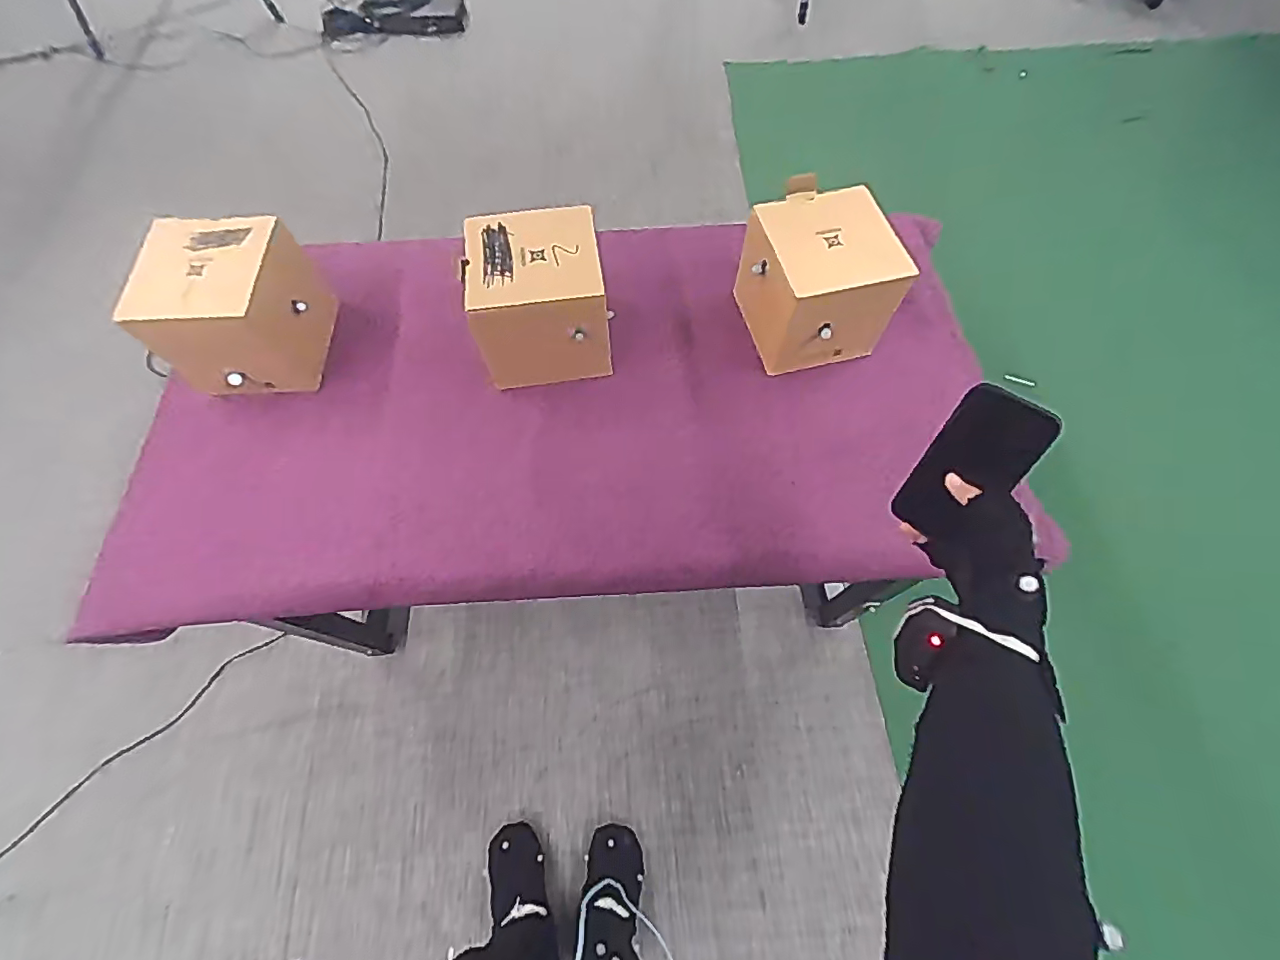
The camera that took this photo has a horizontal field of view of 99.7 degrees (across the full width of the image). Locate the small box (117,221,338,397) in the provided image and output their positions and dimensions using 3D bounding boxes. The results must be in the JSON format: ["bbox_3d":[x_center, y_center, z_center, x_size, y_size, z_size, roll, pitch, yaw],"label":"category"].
[{"bbox_3d":[-0.560,-0.237,0.766,0.168,0.176,0.179,-2,66,-1],"label":"small box"}]

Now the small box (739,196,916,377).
[{"bbox_3d":[0.254,-0.267,0.780,0.168,0.176,0.179,-12,64,-5],"label":"small box"}]
